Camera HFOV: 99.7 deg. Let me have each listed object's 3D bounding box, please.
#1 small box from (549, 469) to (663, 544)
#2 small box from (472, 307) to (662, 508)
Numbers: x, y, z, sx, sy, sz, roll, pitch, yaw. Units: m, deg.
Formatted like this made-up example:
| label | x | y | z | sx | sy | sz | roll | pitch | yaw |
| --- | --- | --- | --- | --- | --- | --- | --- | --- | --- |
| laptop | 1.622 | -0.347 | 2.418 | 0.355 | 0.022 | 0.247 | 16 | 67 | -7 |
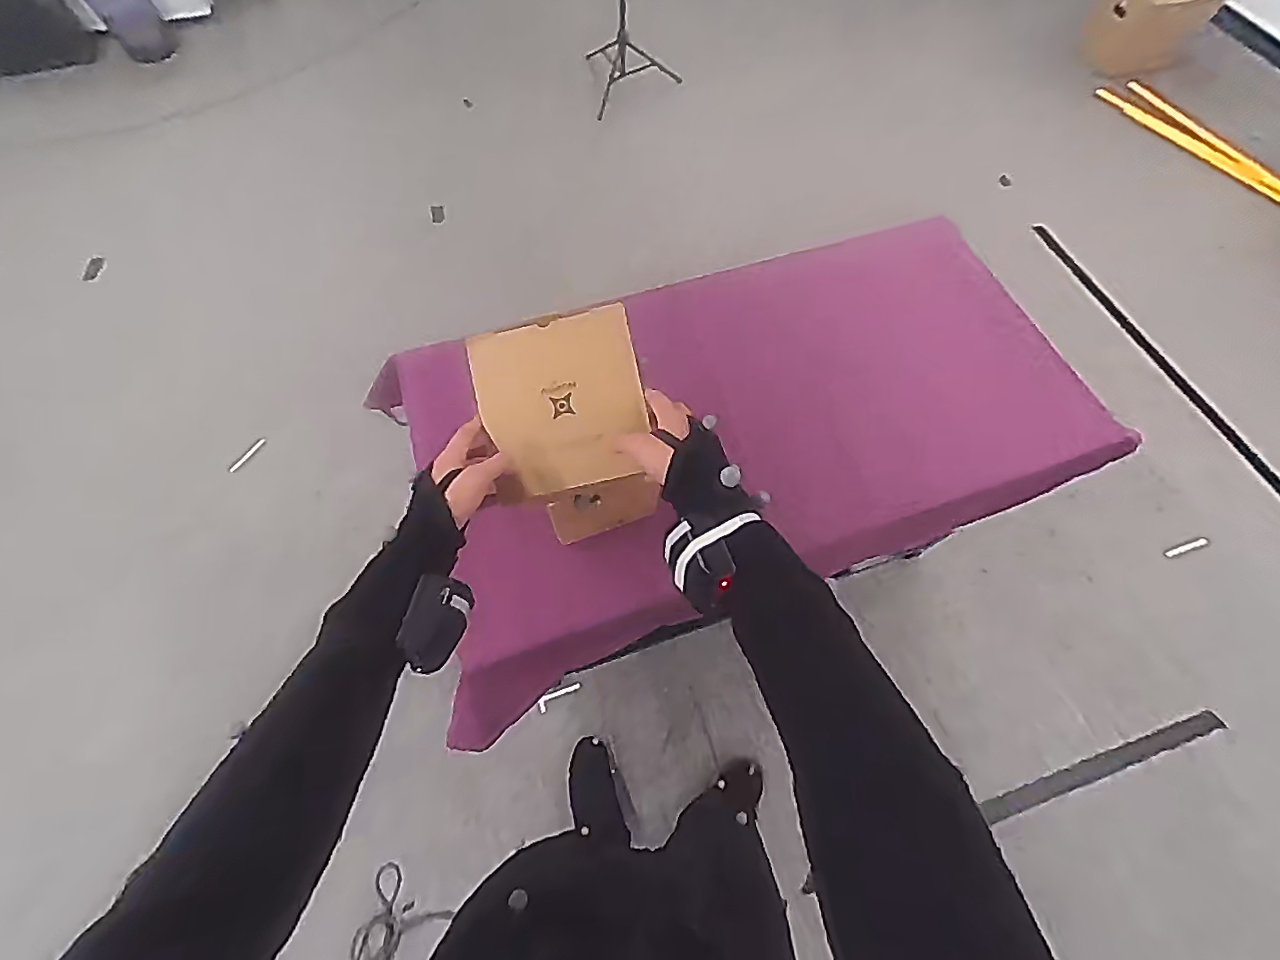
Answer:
| label | x | y | z | sx | sy | sz | roll | pitch | yaw |
| --- | --- | --- | --- | --- | --- | --- | --- | --- | --- |
| small box | -0.074 | -0.025 | 0.841 | 0.168 | 0.176 | 0.179 | -18 | 66 | -9 |
| small box | -0.075 | -0.069 | 0.620 | 0.168 | 0.176 | 0.179 | -12 | 85 | 0 |
